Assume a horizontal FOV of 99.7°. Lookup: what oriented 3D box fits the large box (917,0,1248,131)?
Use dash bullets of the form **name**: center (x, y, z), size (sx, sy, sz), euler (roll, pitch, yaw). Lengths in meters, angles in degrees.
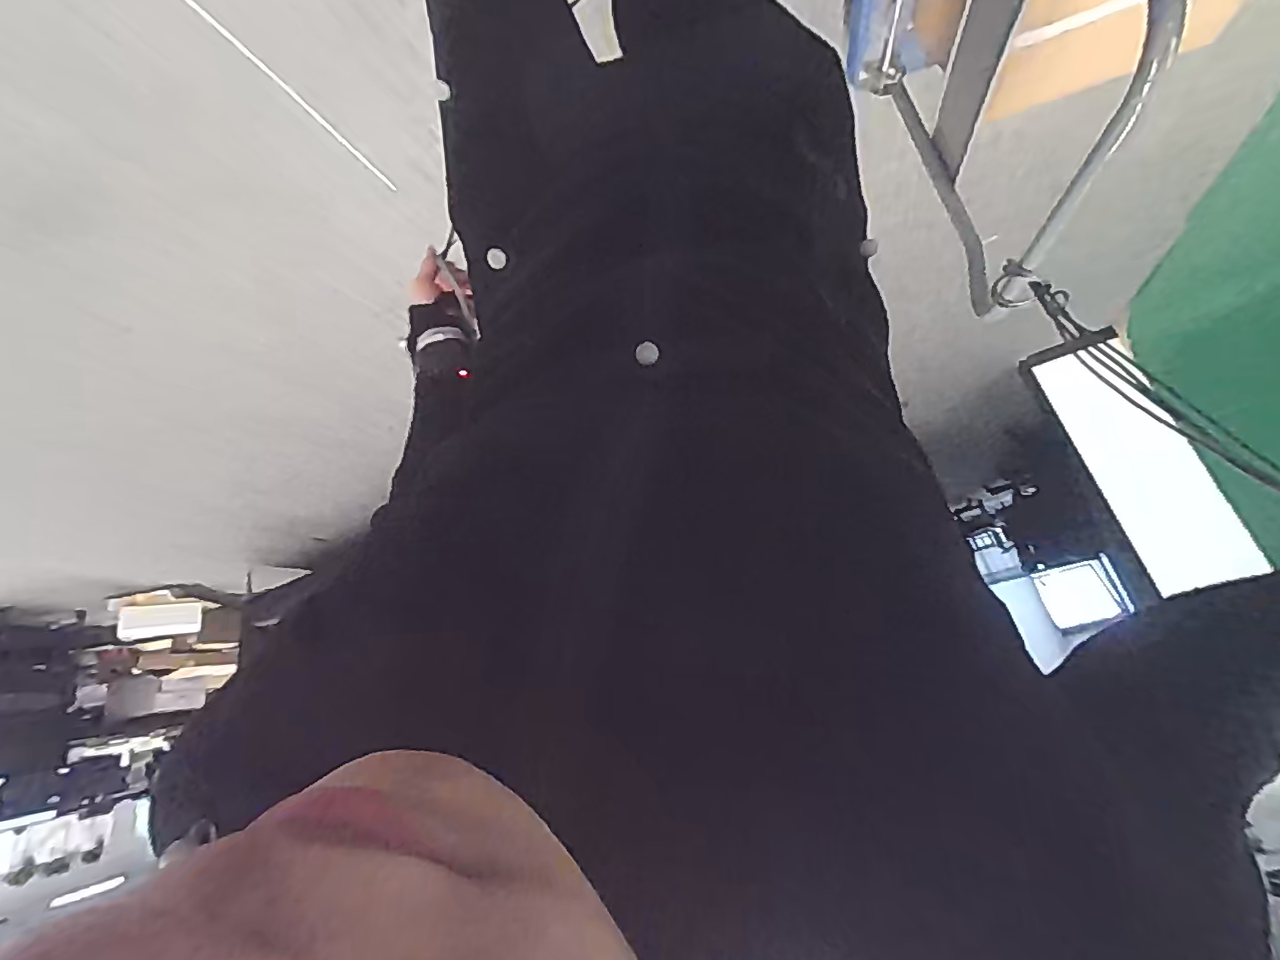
- **large box**: center (0.742, -0.880, 0.884), size (0.408, 0.320, 0.320), euler (-17, 159, 8)
